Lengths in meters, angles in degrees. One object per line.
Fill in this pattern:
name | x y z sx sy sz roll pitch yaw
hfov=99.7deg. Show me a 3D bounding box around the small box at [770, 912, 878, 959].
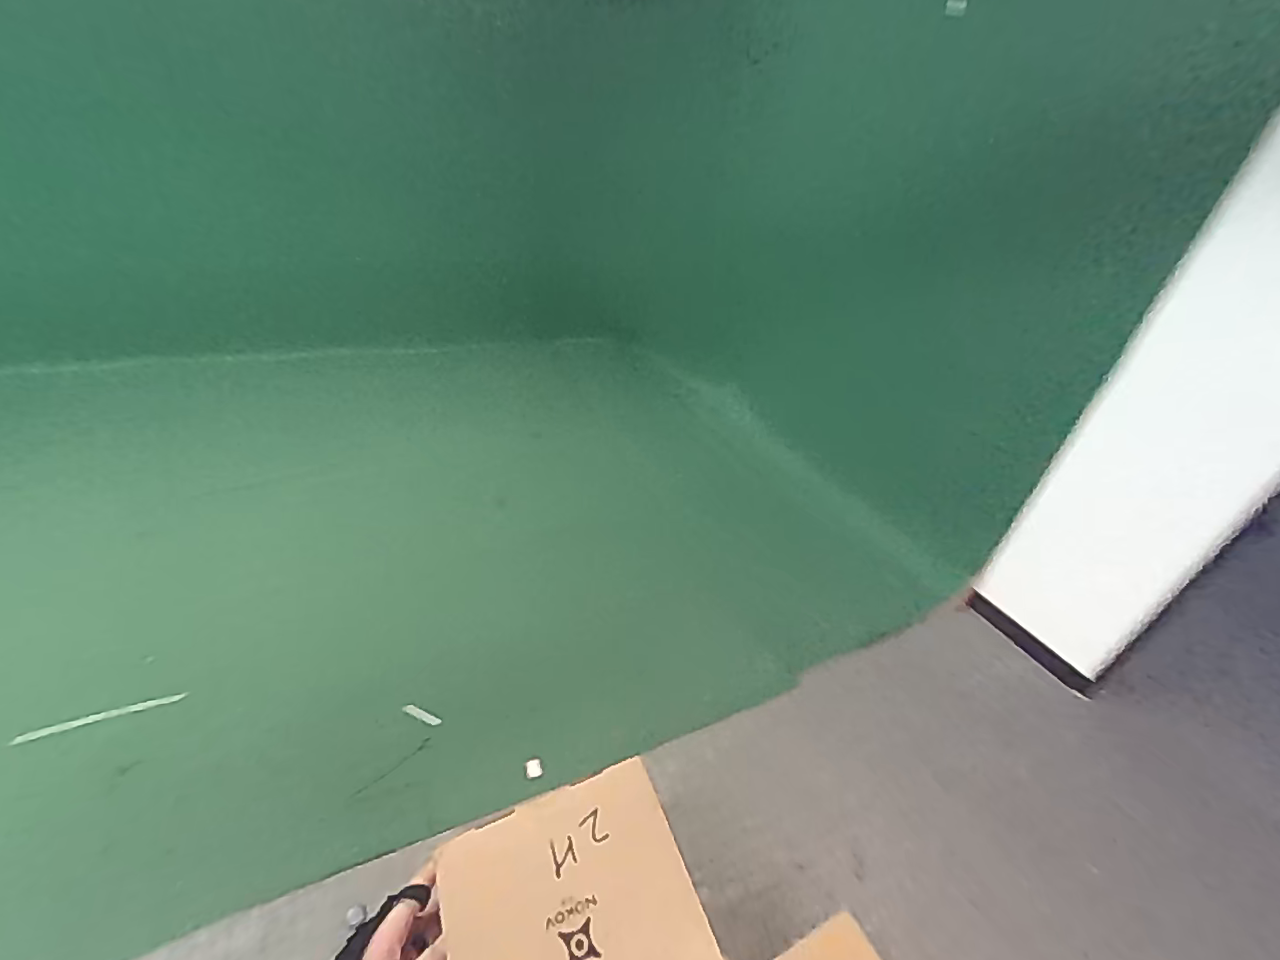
small box | 0.253 0.750 0.733 0.168 0.176 0.179 -9 38 -27
